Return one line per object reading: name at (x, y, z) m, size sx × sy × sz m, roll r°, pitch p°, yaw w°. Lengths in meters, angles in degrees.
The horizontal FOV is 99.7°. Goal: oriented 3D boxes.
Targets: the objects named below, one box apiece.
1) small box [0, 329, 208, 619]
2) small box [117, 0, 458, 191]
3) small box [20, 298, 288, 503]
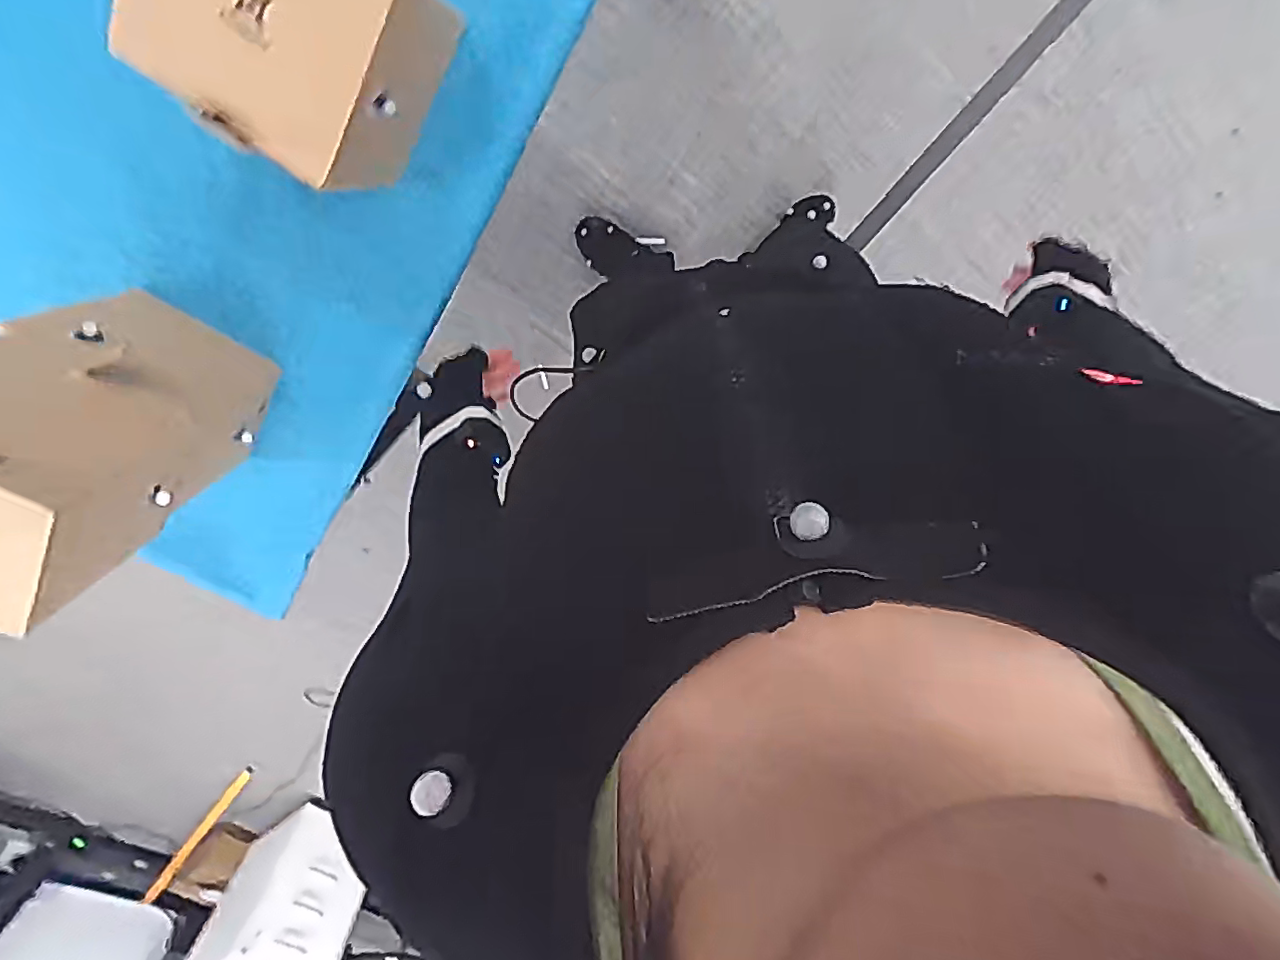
small box at (-0.566, -0.005, 0.506) m, size 0.168 × 0.176 × 0.179 m, roll 33°, pitch 115°, yaw -17°
small box at (-0.283, -0.385, 0.467) m, size 0.168 × 0.176 × 0.179 m, roll 32°, pitch 116°, yaw -17°
small box at (-0.575, -0.094, 0.647) m, size 0.179 × 0.176 × 0.168 m, roll 34°, pitch 117°, yaw -20°
